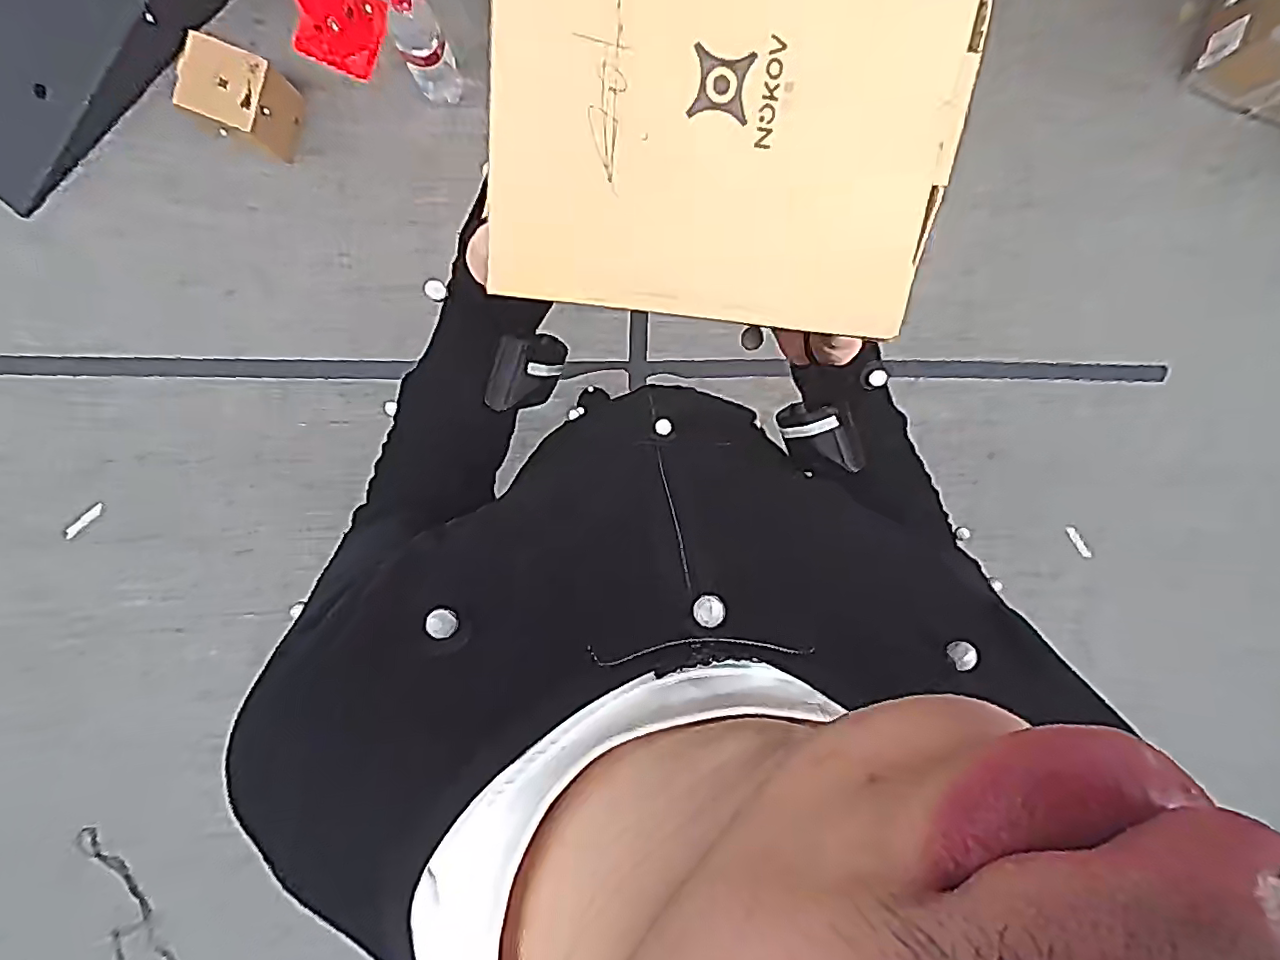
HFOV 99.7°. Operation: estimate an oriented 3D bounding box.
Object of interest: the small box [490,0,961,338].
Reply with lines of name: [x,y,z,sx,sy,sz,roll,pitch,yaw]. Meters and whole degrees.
small box: [0.027,-0.174,0.285,0.179,0.176,0.168,5,108,-5]
